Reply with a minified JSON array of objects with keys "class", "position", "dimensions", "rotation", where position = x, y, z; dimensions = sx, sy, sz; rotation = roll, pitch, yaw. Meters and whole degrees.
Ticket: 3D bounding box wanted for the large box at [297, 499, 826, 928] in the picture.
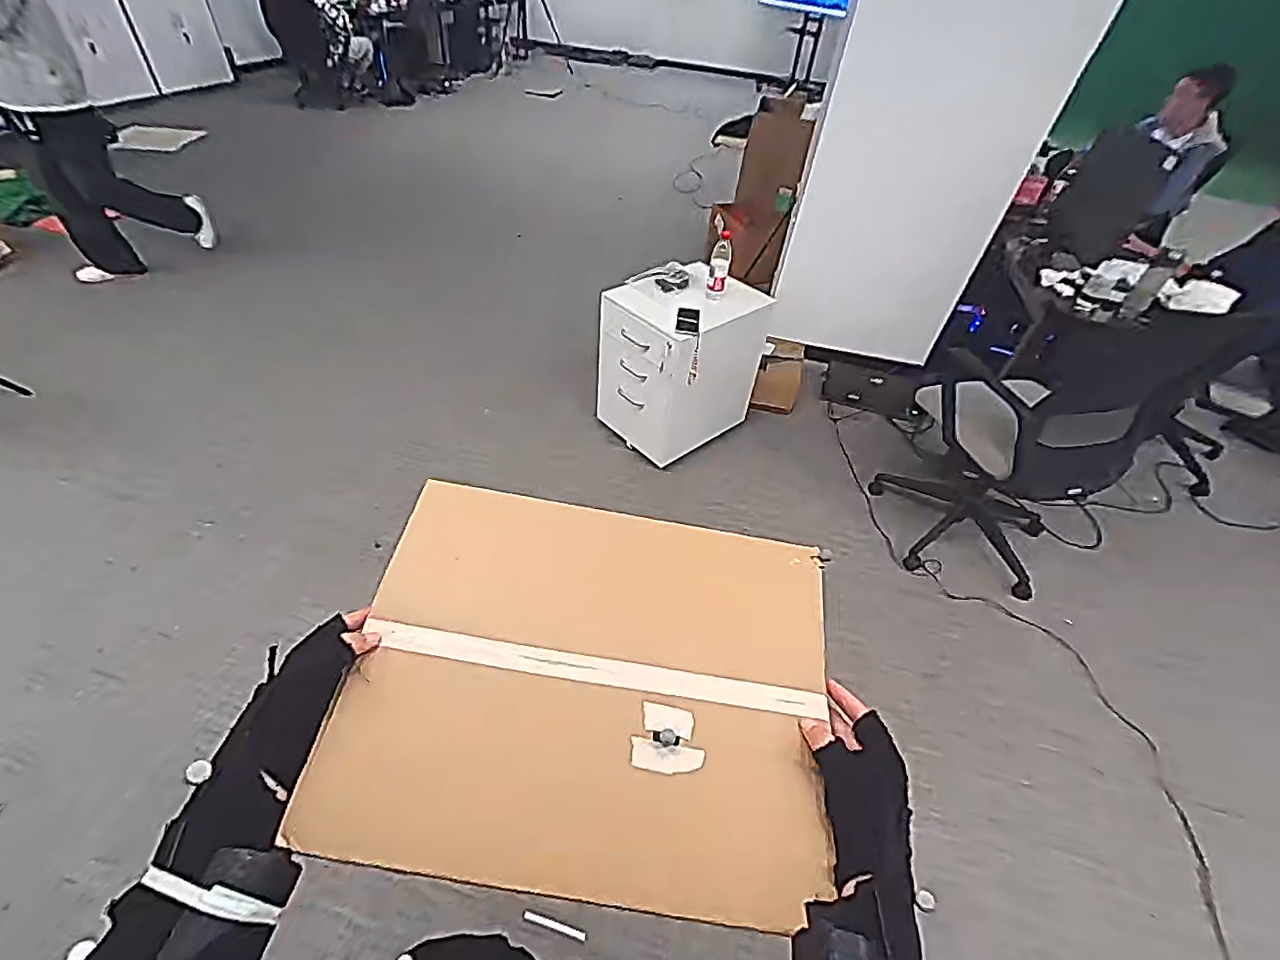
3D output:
[{"class":"large box","position":[-0.056,0.255,0.602],"dimensions":[0.408,0.320,0.320],"rotation":[10,58,-2]}]
